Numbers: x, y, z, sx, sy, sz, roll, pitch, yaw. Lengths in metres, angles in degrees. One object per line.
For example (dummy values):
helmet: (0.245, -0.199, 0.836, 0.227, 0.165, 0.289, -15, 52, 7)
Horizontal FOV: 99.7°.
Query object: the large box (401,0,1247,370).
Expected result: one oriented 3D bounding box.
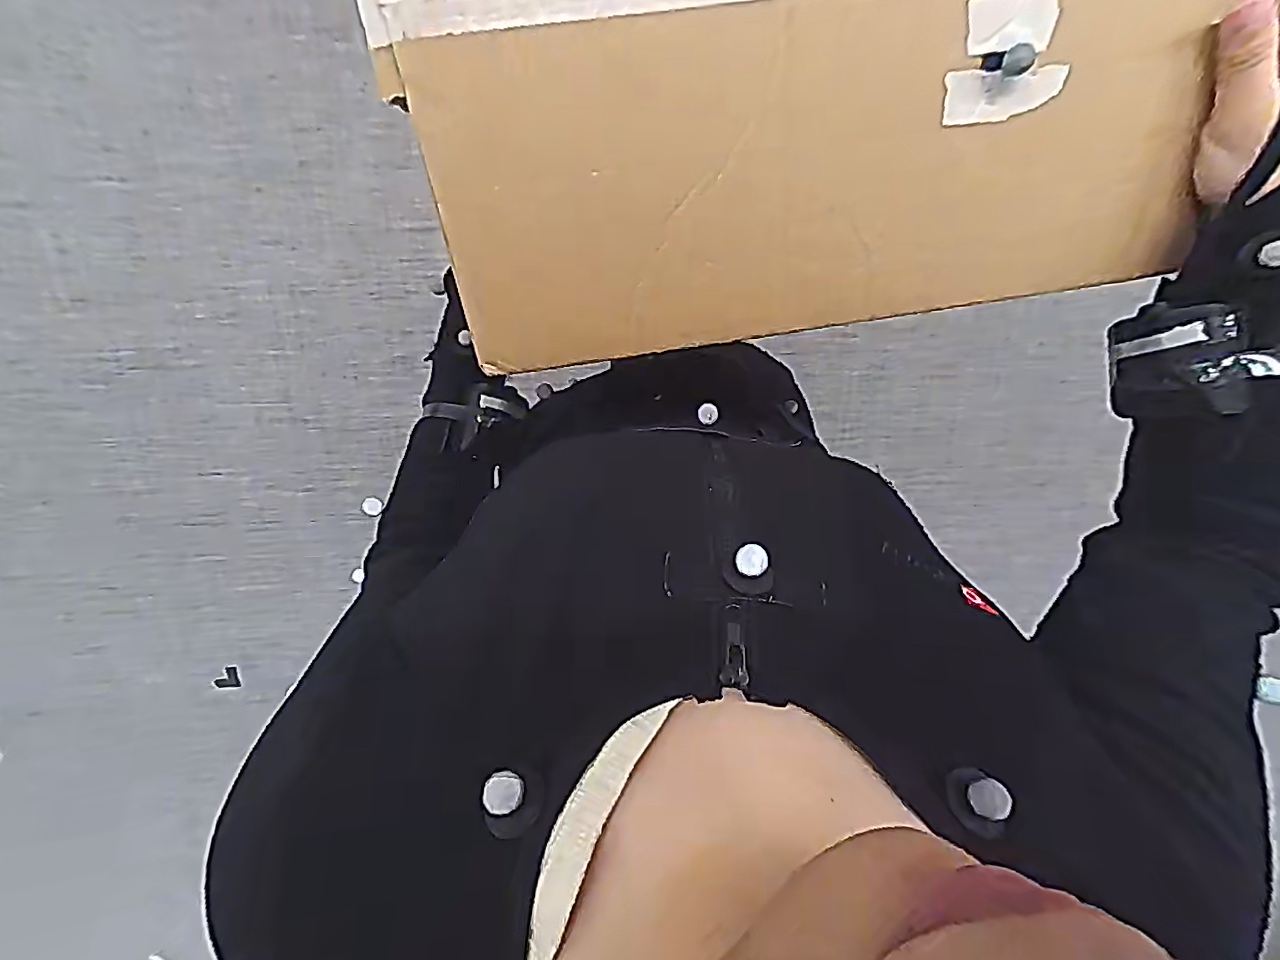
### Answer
large box: (0.073, -0.299, 0.366, 0.408, 0.320, 0.320, -10, 121, -4)
